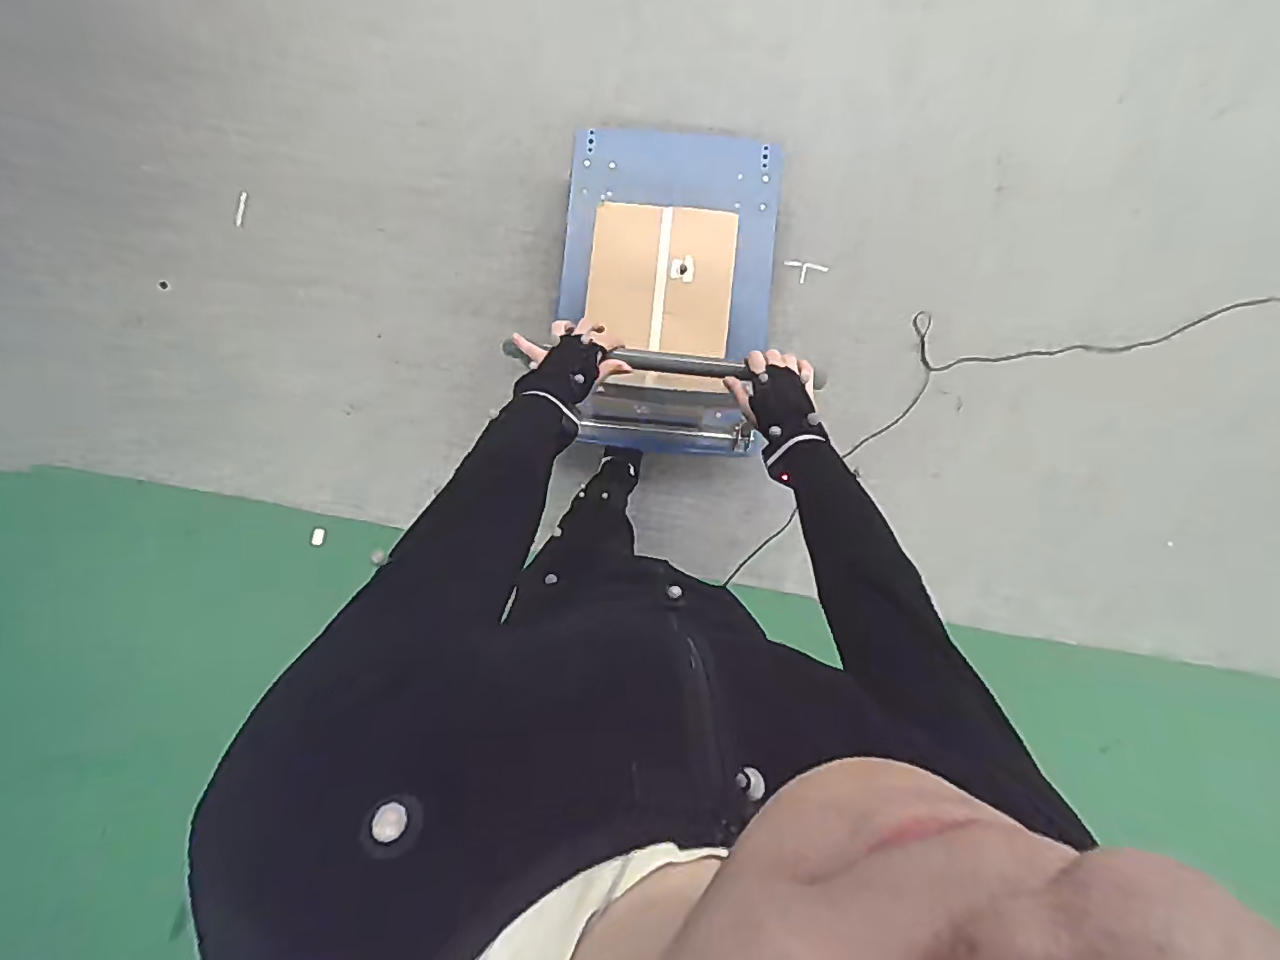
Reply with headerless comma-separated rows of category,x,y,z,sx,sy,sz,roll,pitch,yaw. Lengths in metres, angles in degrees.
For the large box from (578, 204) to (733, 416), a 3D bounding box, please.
large box,0.037,-0.385,1.317,0.320,0.320,0.408,6,87,0
